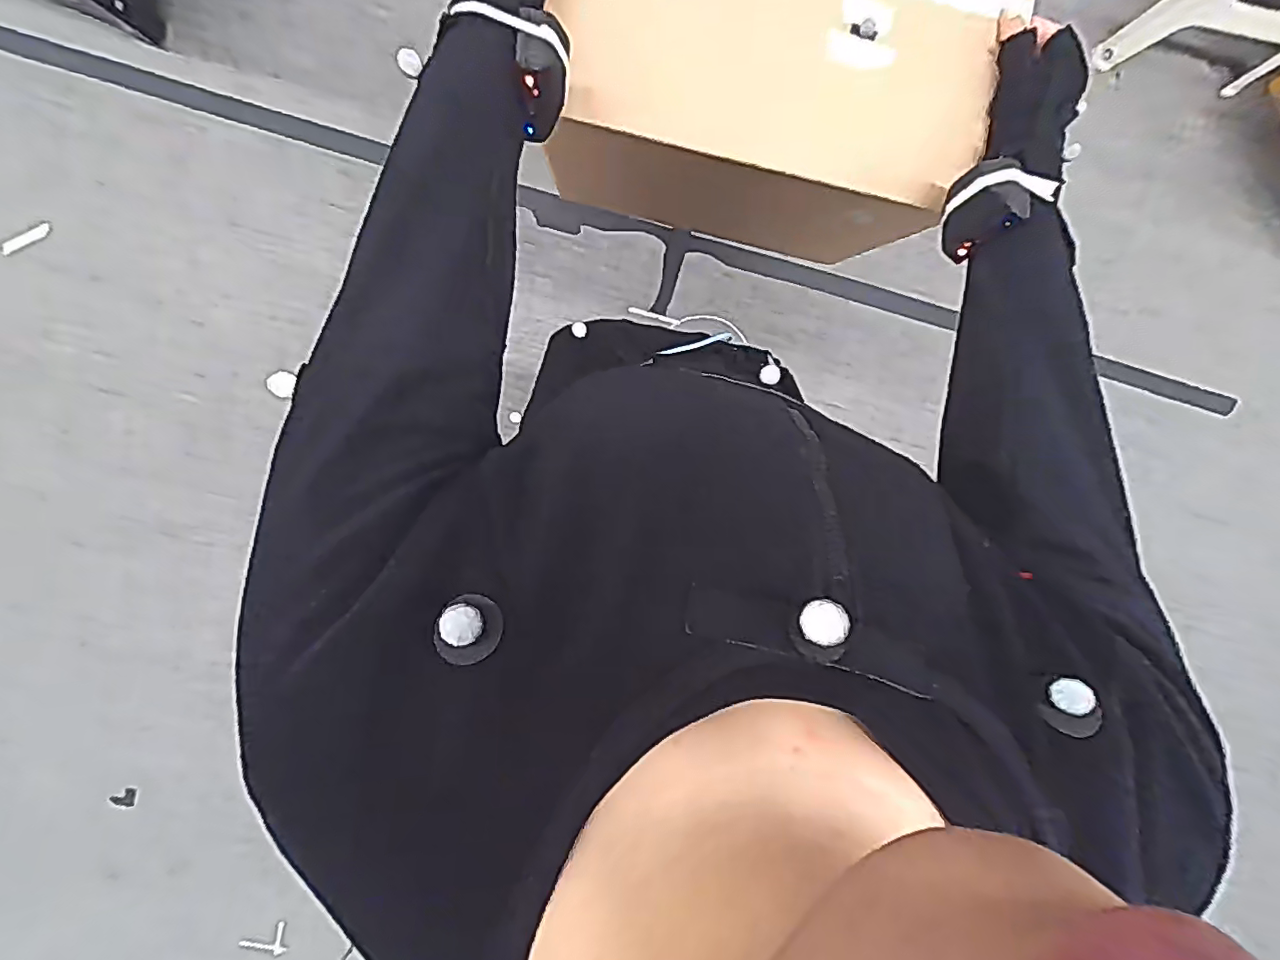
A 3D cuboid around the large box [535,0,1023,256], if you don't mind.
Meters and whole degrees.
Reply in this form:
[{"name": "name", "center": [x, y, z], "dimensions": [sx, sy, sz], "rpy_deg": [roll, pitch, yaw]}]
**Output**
[{"name": "large box", "center": [0.122, -0.469, 0.592], "dimensions": [0.408, 0.320, 0.320], "rpy_deg": [11, 104, -6]}]
